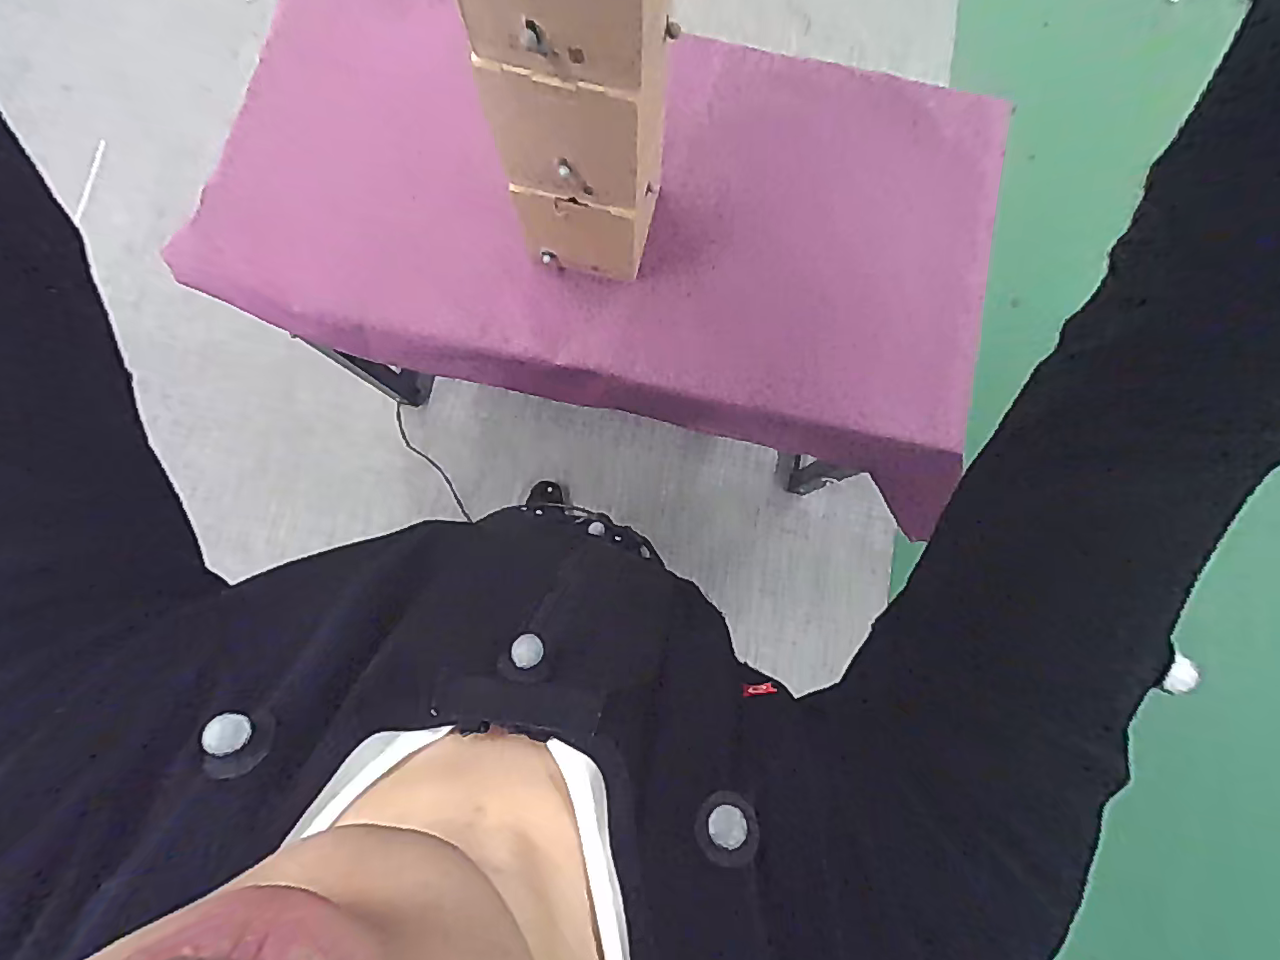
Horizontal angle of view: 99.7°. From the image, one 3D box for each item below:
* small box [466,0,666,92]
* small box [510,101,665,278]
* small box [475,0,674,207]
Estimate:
[{"bbox_3d":[-0.058,-0.479,0.448,0.168,0.176,0.179,13,81,1],"label":"small box"},{"bbox_3d":[-0.066,-0.418,0.769,0.168,0.176,0.179,14,81,1],"label":"small box"},{"bbox_3d":[-0.063,-0.451,0.608,0.168,0.176,0.179,13,82,1],"label":"small box"}]
